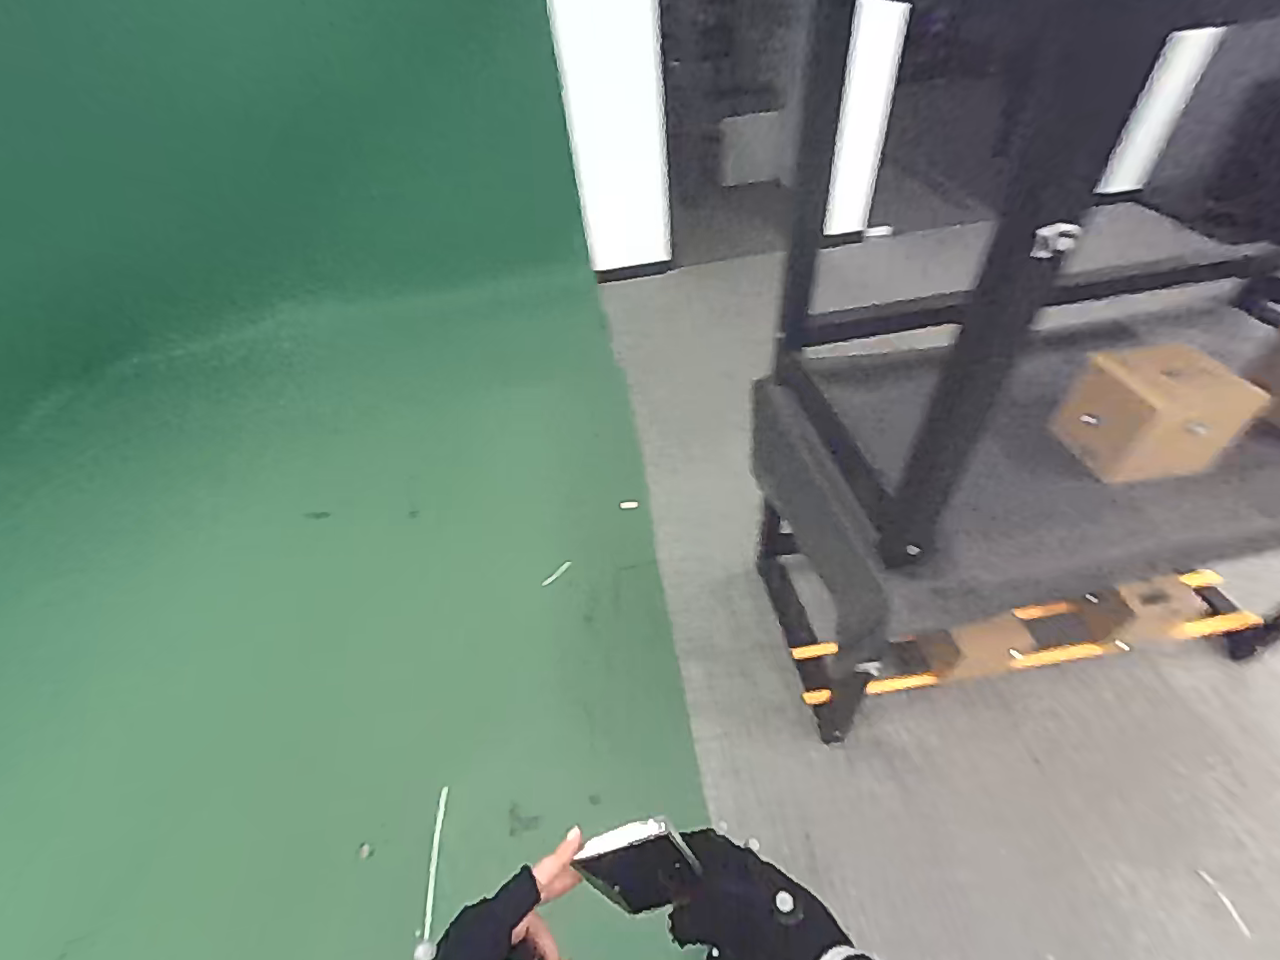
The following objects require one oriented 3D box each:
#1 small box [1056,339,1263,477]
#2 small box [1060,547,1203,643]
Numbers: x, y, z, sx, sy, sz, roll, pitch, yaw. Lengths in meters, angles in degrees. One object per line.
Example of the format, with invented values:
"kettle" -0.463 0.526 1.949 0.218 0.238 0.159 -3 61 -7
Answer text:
"small box" 0.877 -0.121 0.943 0.179 0.176 0.168 -8 45 0
"small box" 1.223 0.297 1.364 0.168 0.176 0.179 -7 46 0
